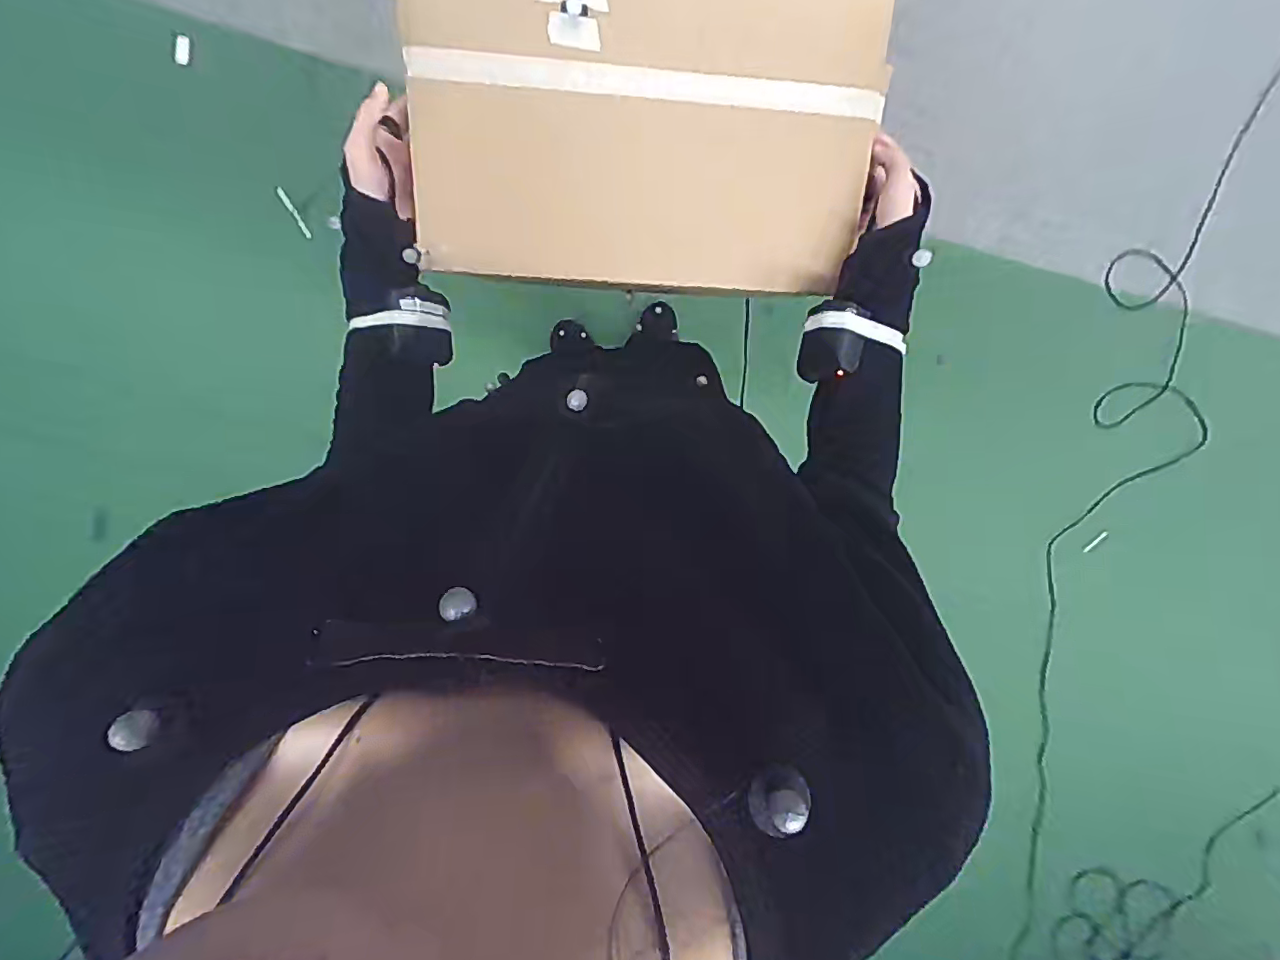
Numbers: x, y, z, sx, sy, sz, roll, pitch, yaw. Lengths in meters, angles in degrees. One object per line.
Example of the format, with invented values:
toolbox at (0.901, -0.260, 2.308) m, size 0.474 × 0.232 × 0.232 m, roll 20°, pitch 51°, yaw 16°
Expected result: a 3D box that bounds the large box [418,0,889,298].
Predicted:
large box at (0.001, -0.386, 0.616) m, size 0.408 × 0.320 × 0.320 m, roll 3°, pitch 108°, yaw -6°
